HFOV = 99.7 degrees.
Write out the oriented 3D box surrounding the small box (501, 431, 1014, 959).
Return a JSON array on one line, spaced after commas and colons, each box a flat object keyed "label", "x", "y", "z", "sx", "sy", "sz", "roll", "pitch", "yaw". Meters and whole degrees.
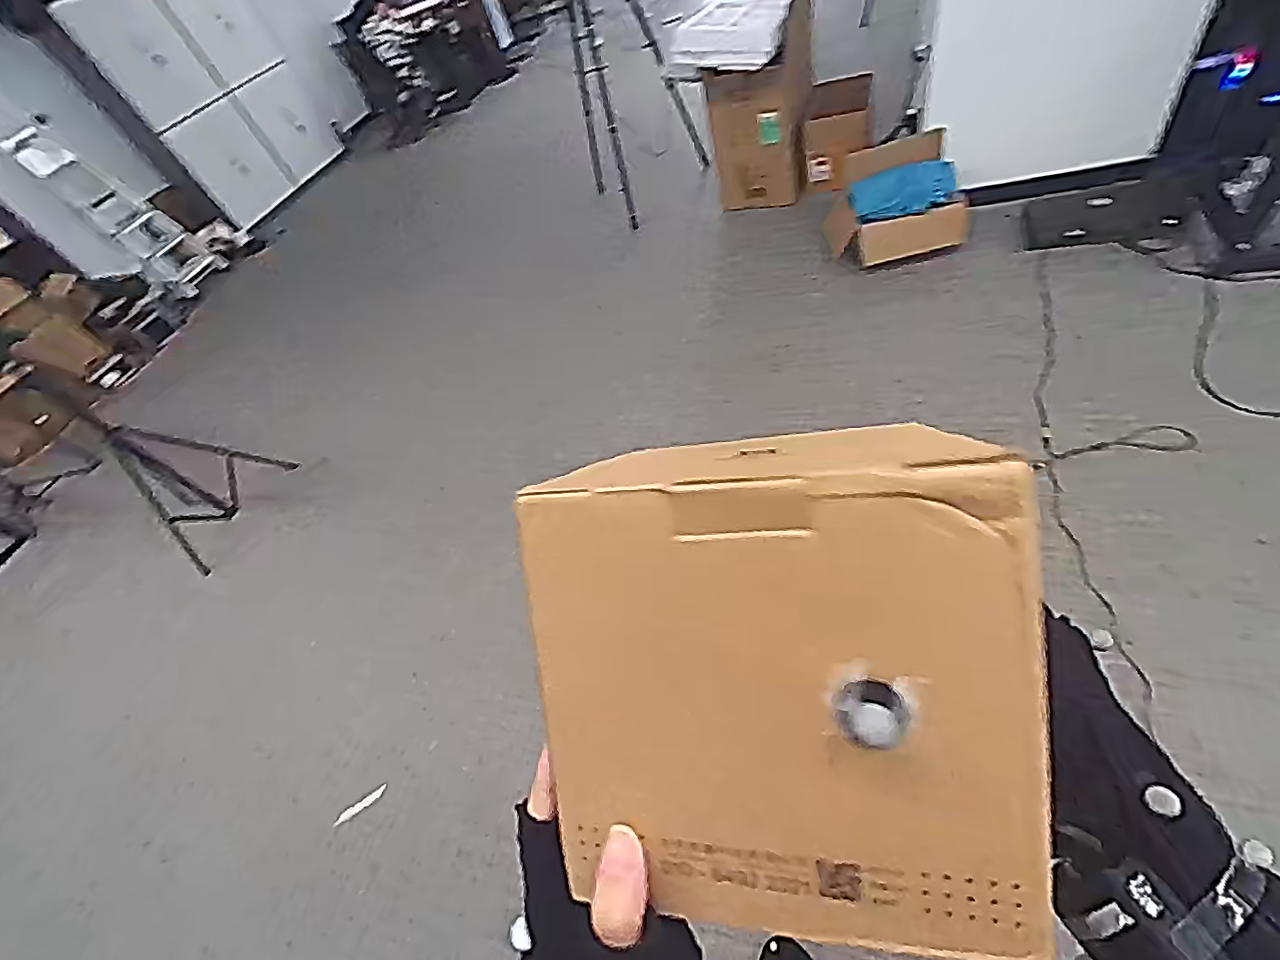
[{"label": "small box", "x": 0.061, "y": 0.076, "z": 0.265, "sx": 0.168, "sy": 0.176, "sz": 0.179, "roll": -6, "pitch": 6, "yaw": 20}]
